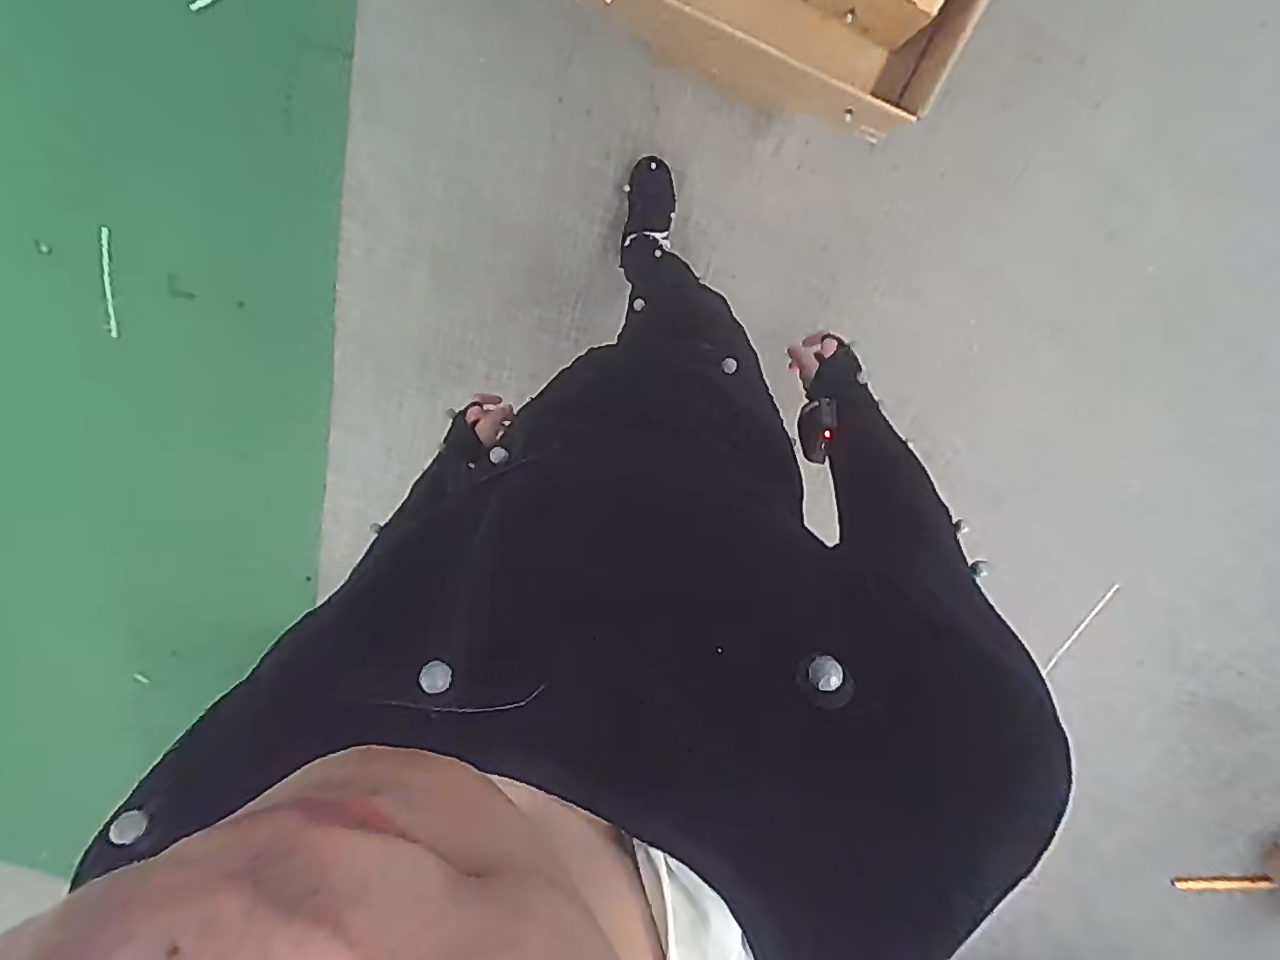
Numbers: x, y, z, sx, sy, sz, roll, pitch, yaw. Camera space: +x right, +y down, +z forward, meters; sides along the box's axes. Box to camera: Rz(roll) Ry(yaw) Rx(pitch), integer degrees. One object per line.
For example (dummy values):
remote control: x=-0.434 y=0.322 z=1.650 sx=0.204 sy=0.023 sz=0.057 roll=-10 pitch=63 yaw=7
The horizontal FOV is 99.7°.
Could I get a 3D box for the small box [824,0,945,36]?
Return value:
small box: x=0.366 y=-0.767 z=0.743 sx=0.168 sy=0.176 sz=0.179 roll=22 pitch=116 yaw=-5
